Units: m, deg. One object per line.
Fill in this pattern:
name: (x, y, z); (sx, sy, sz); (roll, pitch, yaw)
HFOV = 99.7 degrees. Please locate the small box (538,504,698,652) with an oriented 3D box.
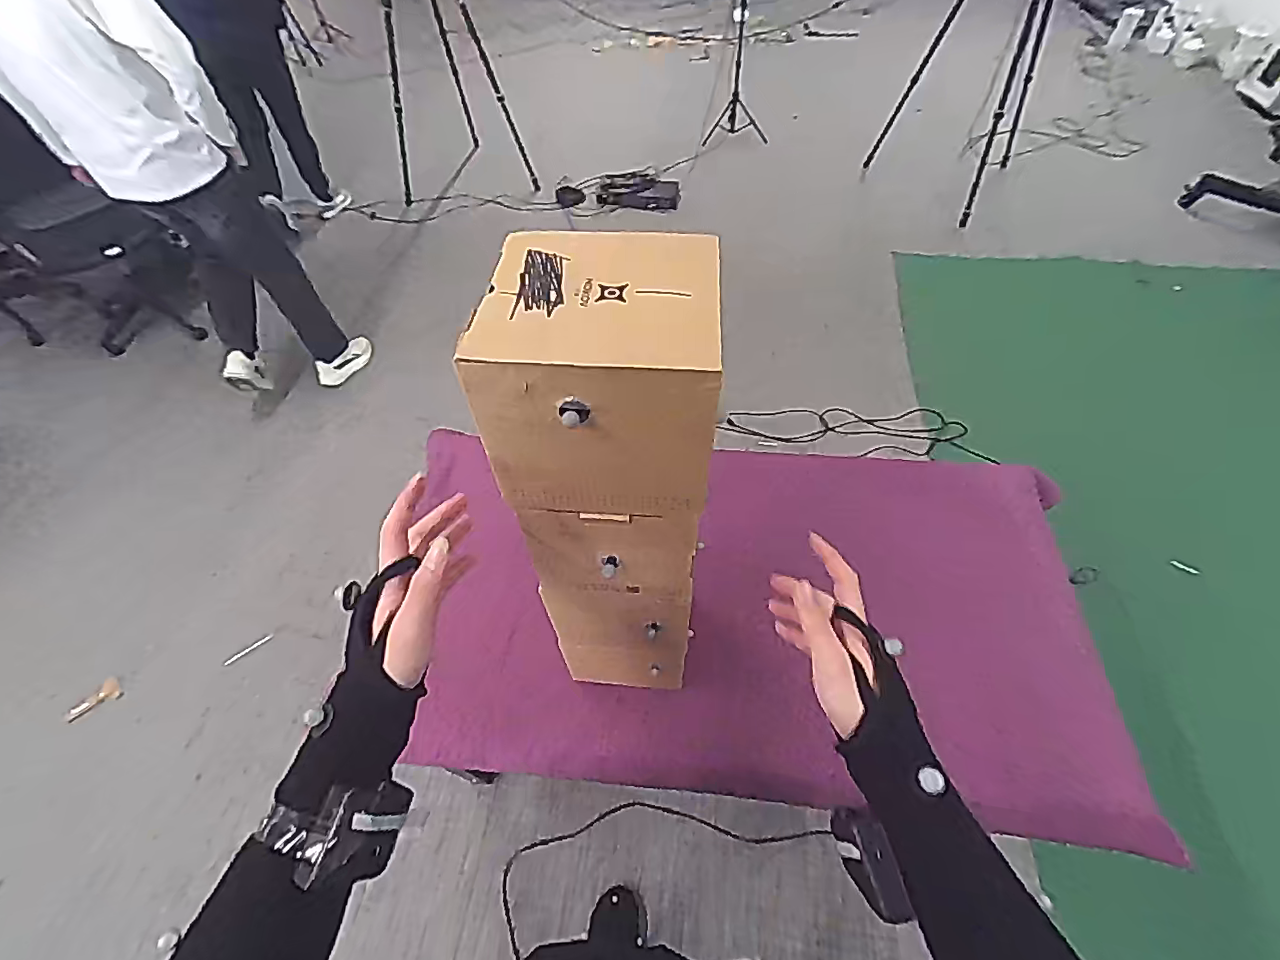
small box: (-0.019, 0.117, 0.717); (0.179, 0.176, 0.168); (4, 53, 6)

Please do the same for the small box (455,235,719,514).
small box: (-0.027, -0.085, 0.459); (0.179, 0.176, 0.168); (3, 52, 4)

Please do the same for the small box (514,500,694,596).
small box: (-0.023, 0.013, 0.591); (0.168, 0.176, 0.179); (3, 53, 4)
